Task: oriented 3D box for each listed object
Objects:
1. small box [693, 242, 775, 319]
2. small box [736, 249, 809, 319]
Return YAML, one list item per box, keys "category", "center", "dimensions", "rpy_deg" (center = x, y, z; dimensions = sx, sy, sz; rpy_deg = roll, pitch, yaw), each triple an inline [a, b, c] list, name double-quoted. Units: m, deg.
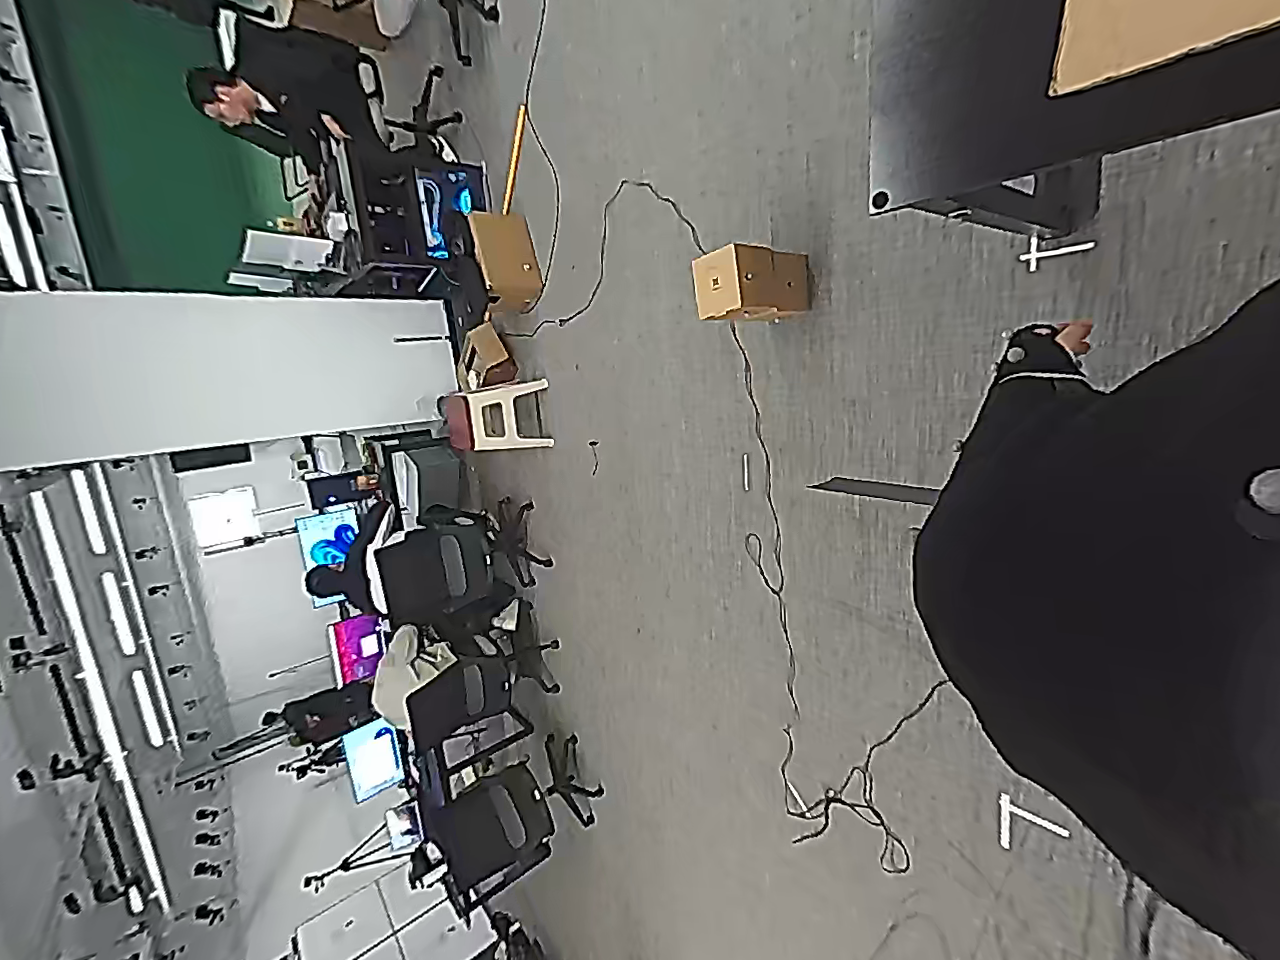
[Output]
- category: "small box"
  center: [0.280, -0.577, 1.584]
  dimensions: [0.168, 0.176, 0.179]
  rpy_deg: [-1, 99, 51]
- category: "small box"
  center: [0.407, -0.601, 1.682]
  dimensions: [0.168, 0.176, 0.179]
  rpy_deg: [5, 105, 51]
